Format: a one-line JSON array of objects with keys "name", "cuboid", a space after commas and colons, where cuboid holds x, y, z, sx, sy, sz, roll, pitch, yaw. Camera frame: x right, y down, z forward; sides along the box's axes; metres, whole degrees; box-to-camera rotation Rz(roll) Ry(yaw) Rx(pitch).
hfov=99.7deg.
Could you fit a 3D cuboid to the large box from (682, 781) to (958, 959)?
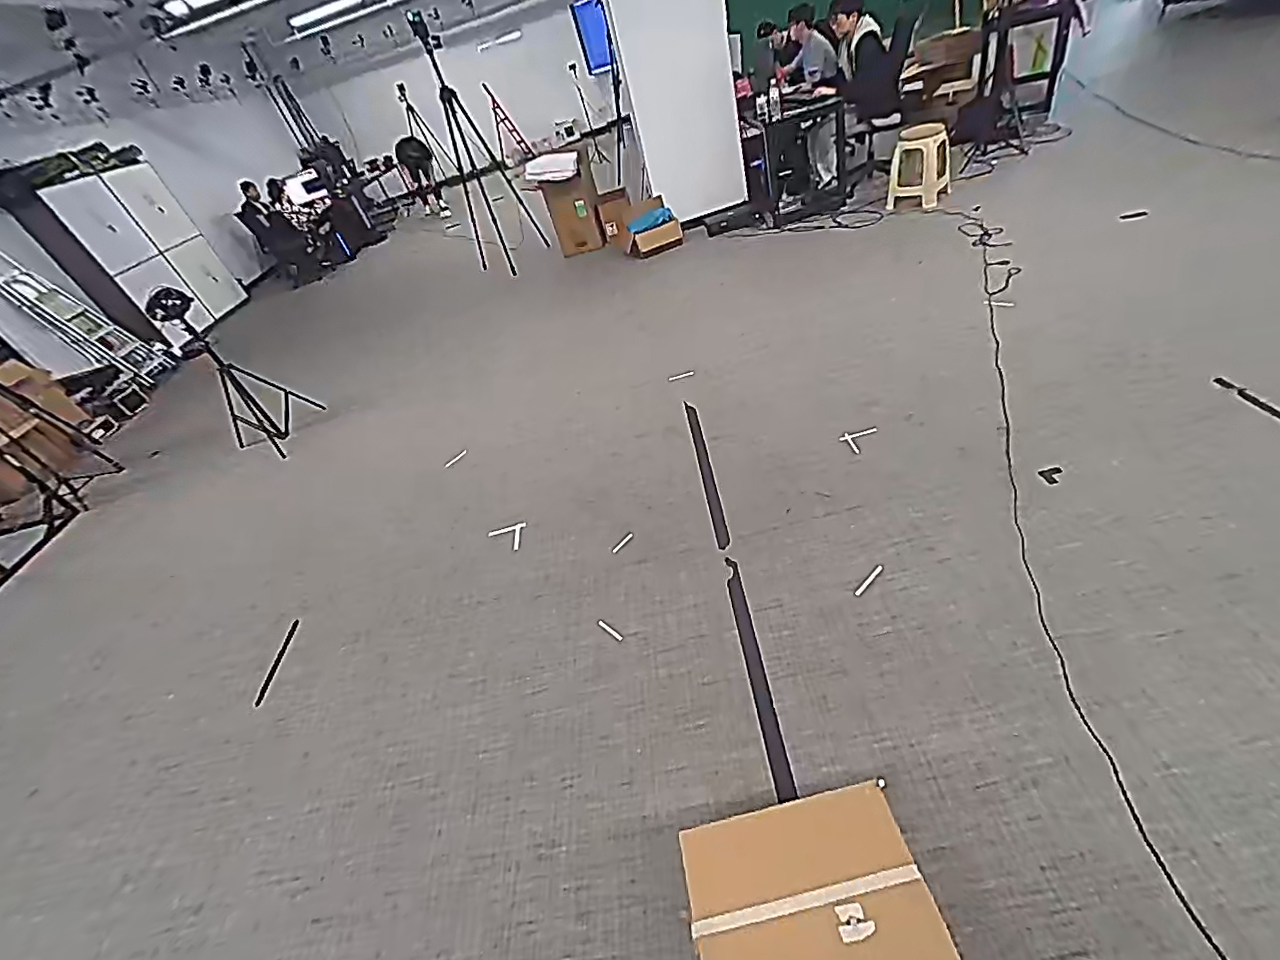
[{"name": "large box", "cuboid": [0.332, 0.856, 1.044, 0.408, 0.320, 0.320, -17, 38, 3]}]
